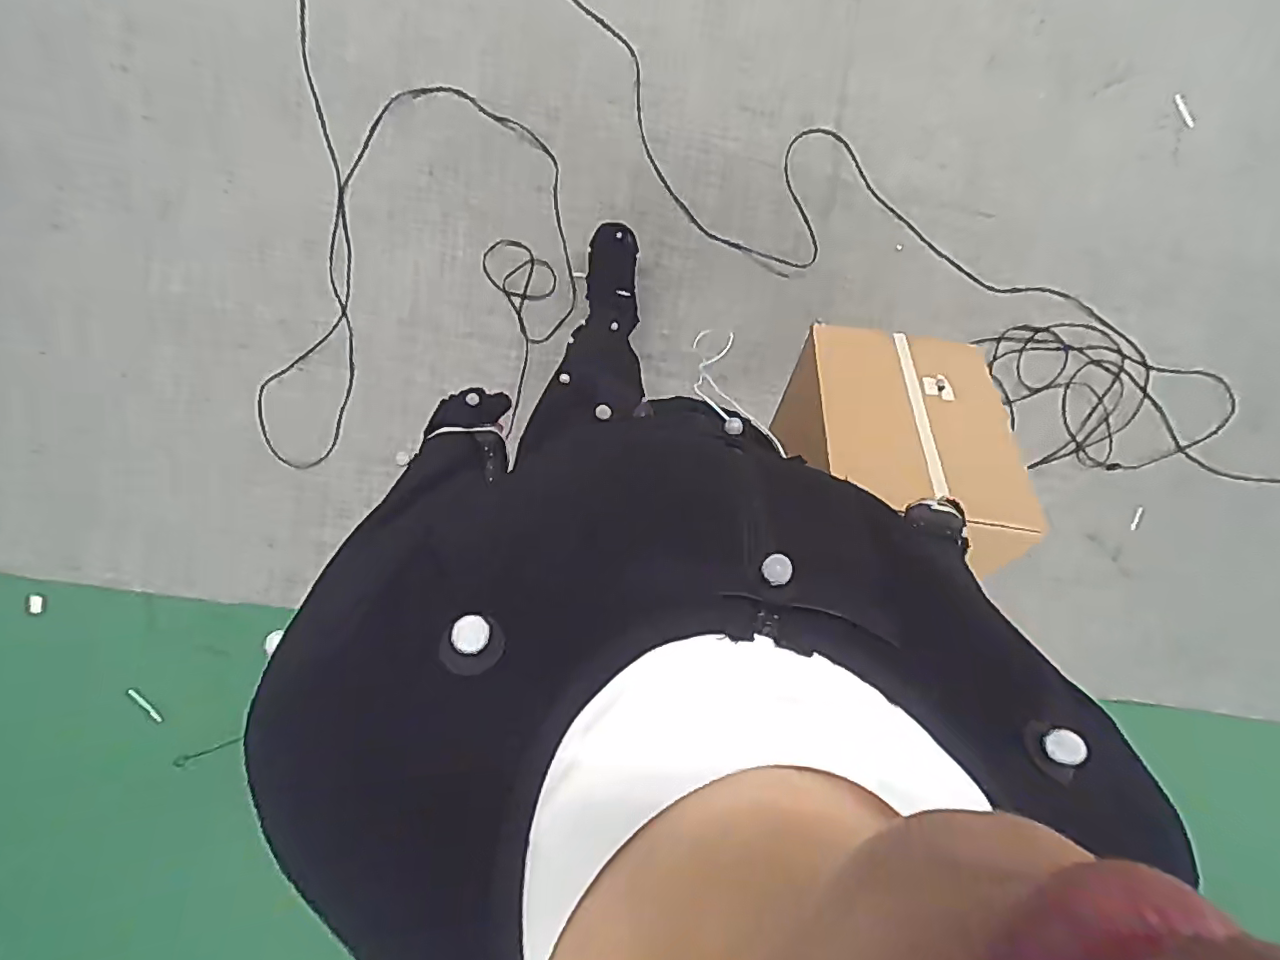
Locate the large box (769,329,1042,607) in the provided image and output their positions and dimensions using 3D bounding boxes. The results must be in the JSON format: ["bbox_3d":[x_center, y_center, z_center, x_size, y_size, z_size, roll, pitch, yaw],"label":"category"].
[{"bbox_3d":[0.437,-0.018,1.009,0.320,0.408,0.320,8,144,0],"label":"large box"}]
